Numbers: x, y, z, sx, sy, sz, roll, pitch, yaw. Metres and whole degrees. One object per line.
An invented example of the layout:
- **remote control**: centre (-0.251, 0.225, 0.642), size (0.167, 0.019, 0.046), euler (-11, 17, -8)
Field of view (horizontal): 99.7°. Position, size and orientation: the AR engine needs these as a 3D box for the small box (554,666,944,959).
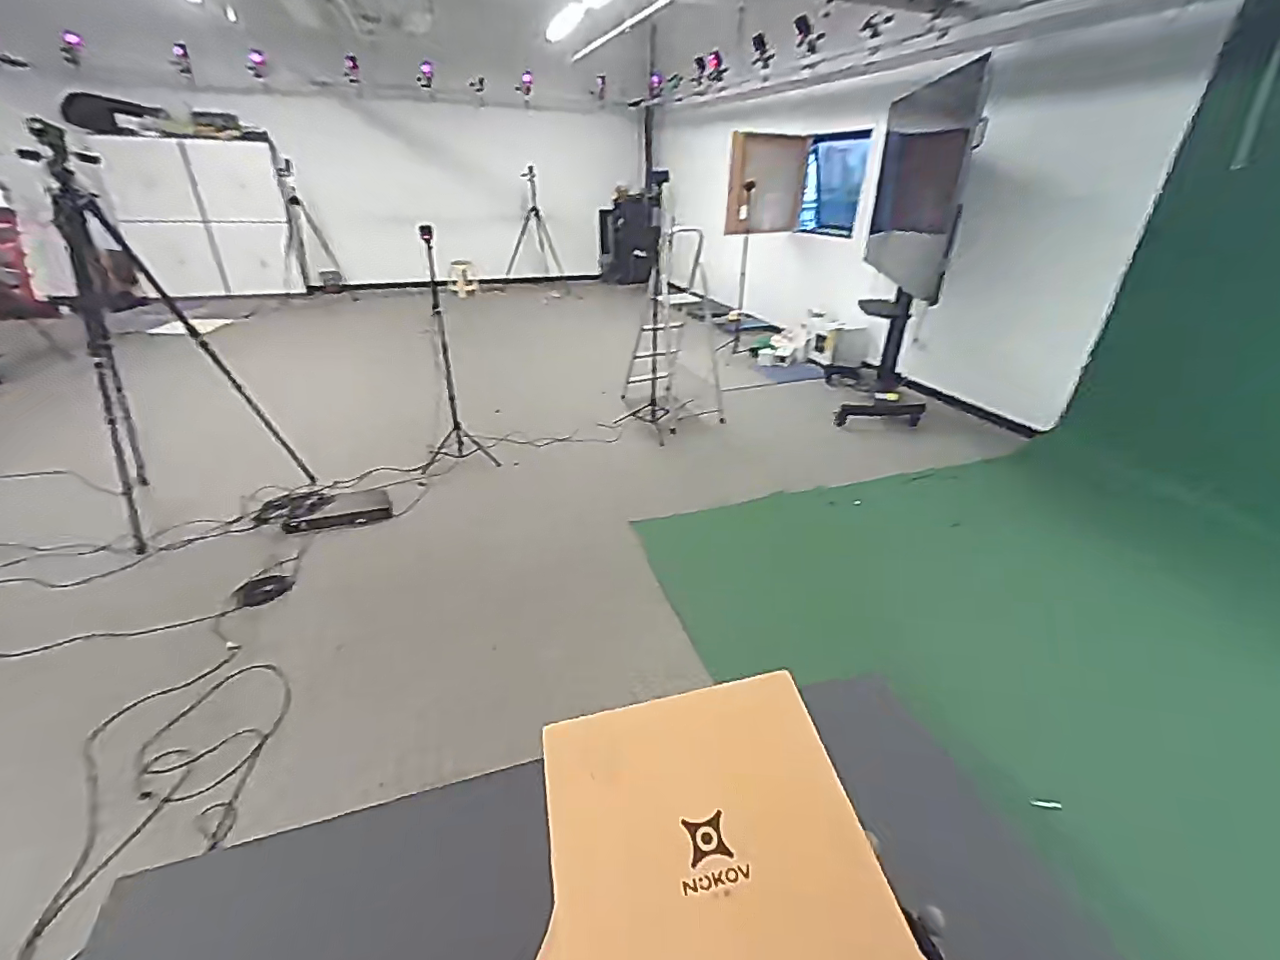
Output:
- **small box**: centre (0.045, 0.249, 0.329), size (0.168, 0.176, 0.179), euler (-10, 40, -8)
